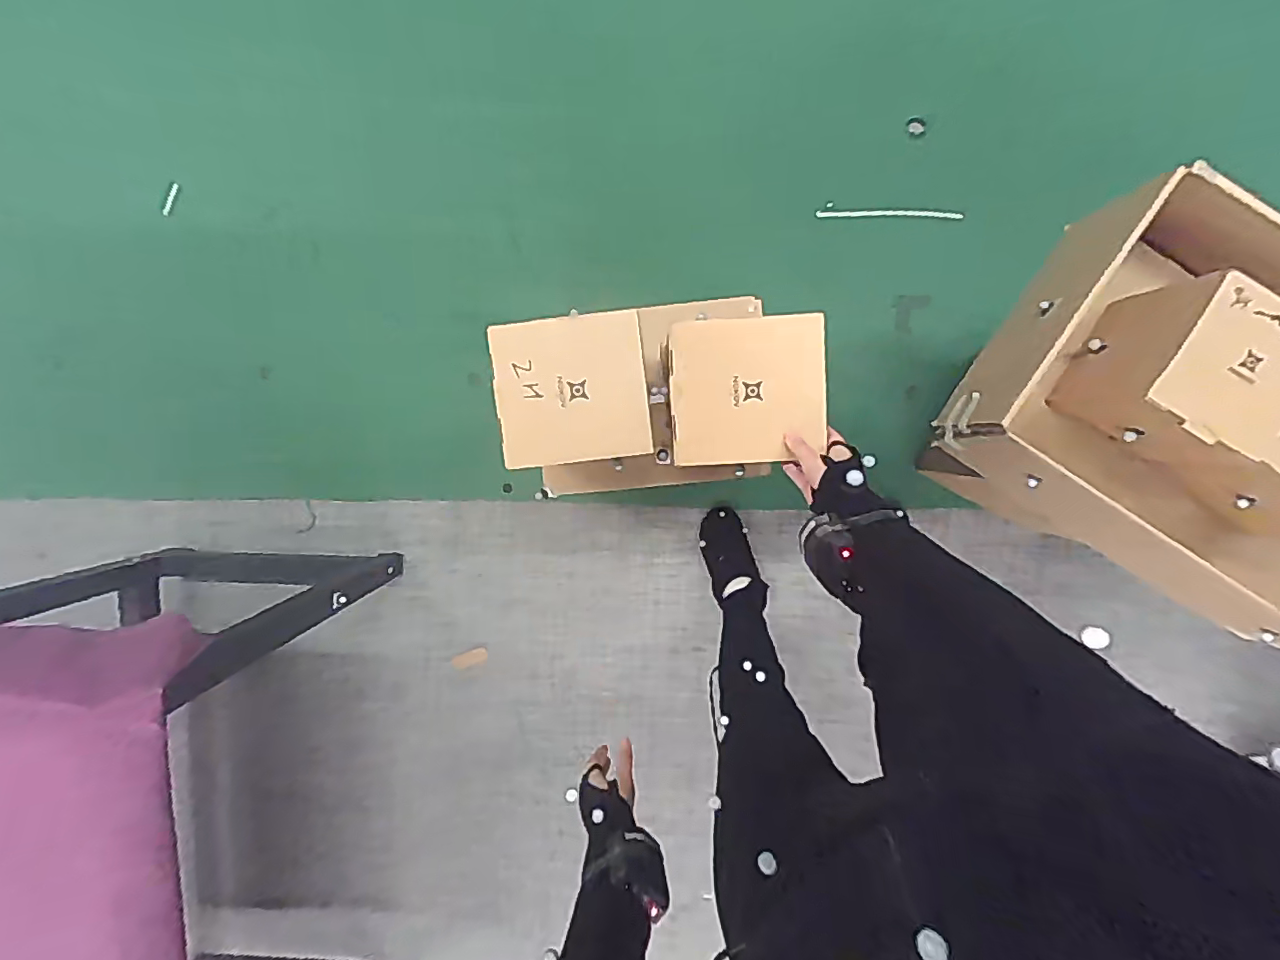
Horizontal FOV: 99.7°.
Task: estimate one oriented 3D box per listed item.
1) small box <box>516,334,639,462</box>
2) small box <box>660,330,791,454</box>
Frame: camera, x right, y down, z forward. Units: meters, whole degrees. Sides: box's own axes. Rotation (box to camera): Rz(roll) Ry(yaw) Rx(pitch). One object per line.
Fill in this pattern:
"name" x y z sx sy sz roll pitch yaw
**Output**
"small box" -0.091 -0.124 0.864 0.168 0.176 0.179 -5 95 2
"small box" 0.127 -0.130 0.856 0.179 0.176 0.168 -7 94 3
